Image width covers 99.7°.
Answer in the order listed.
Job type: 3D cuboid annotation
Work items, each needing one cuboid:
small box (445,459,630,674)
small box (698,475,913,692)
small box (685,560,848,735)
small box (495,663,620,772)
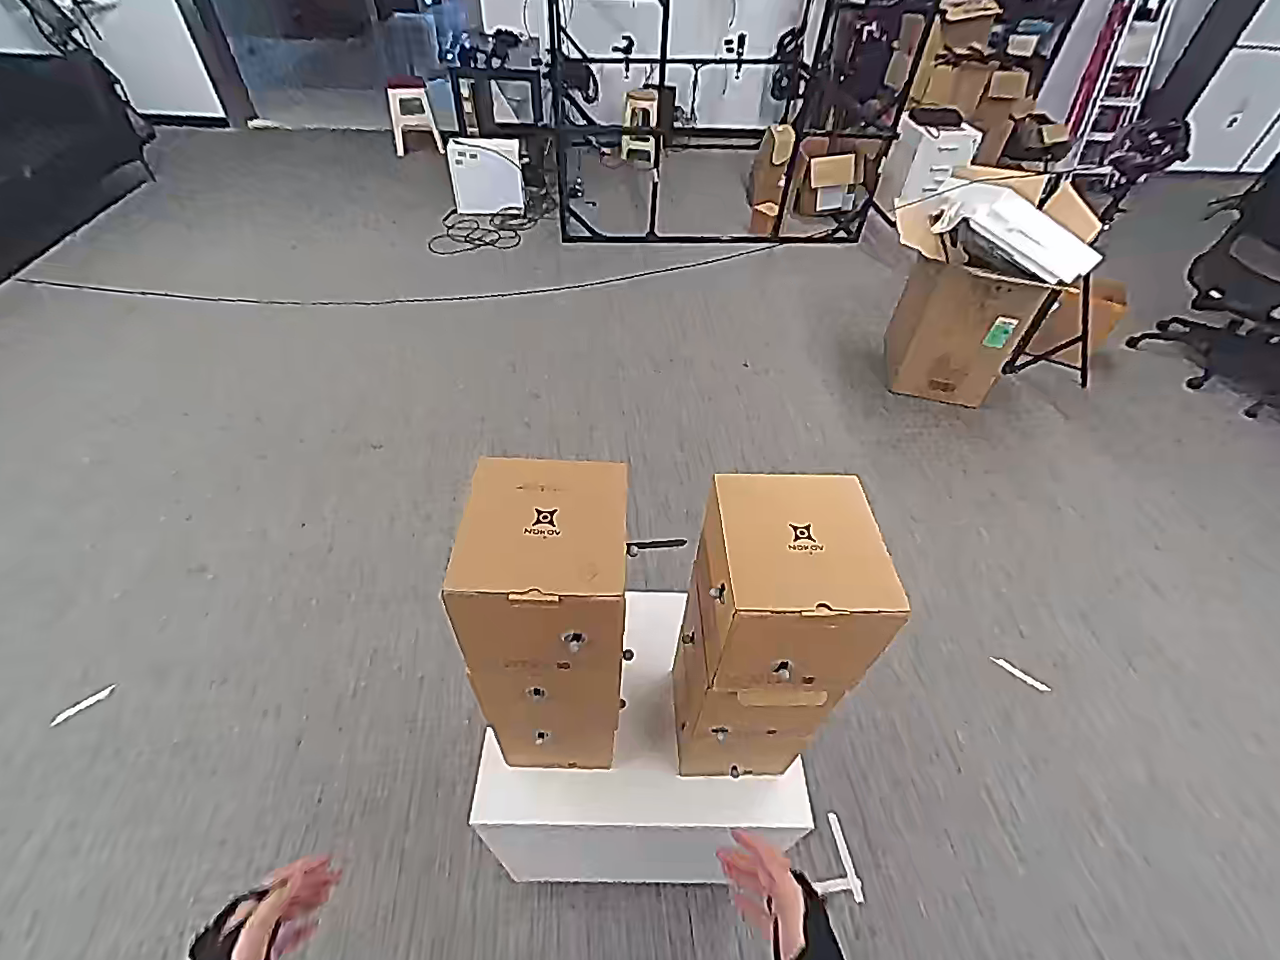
[{"bbox_3d":[-0.097,0.099,0.599,0.168,0.176,0.179,3,46,-3],"label":"small box"},{"bbox_3d":[0.161,0.115,0.602,0.168,0.176,0.179,1,47,-3],"label":"small box"},{"bbox_3d":[0.153,0.226,0.721,0.168,0.176,0.179,1,46,-3],"label":"small box"},{"bbox_3d":[-0.116,0.326,0.835,0.168,0.176,0.179,3,46,-1],"label":"small box"}]
